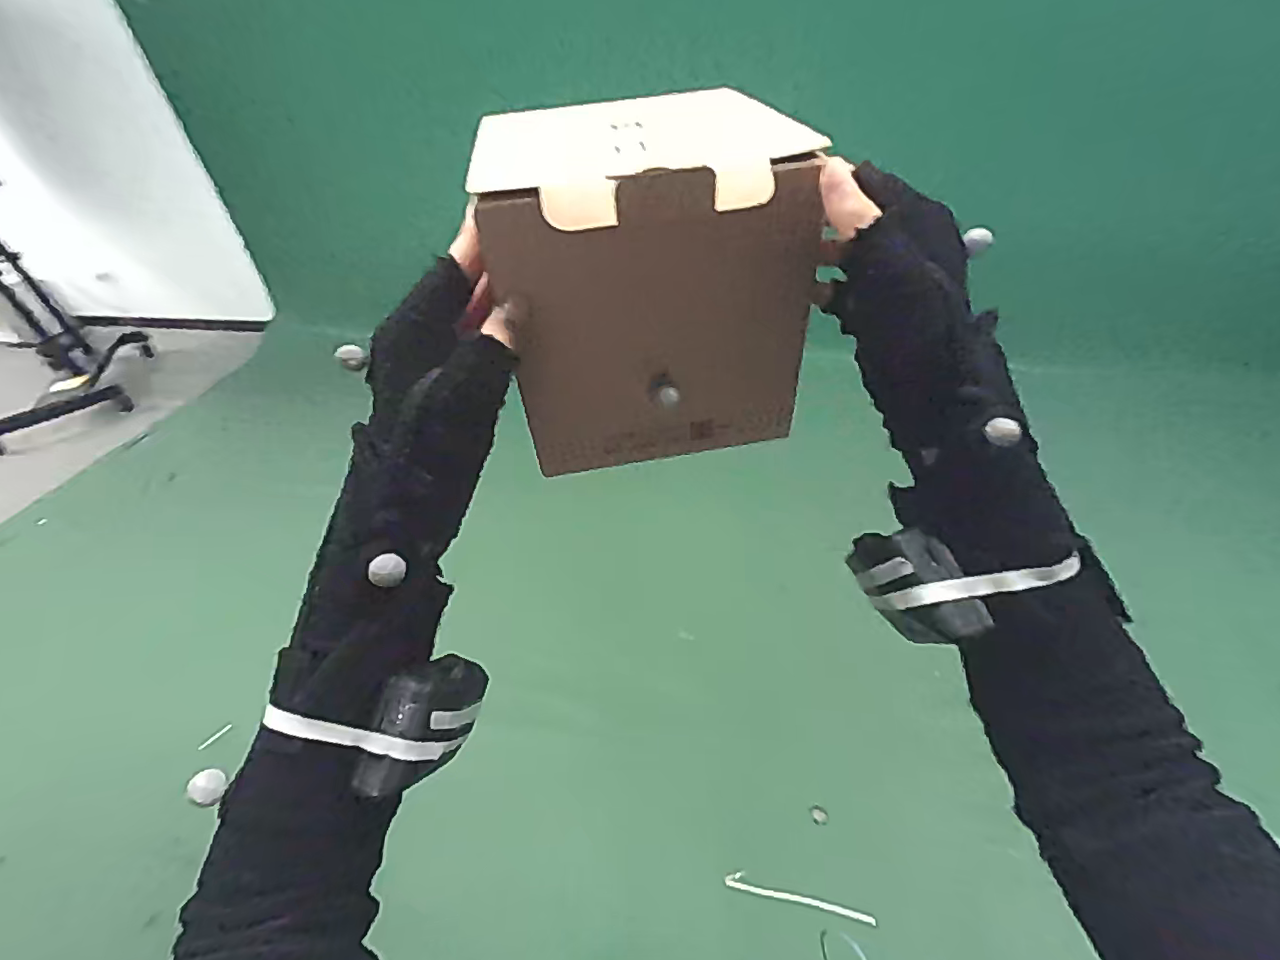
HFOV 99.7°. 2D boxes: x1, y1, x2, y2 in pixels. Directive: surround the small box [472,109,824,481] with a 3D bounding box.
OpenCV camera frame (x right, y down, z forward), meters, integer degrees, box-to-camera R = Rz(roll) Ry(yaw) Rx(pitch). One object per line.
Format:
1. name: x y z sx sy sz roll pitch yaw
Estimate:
1. small box: -0.002 -0.125 0.359 0.168 0.176 0.179 -10 44 -4
